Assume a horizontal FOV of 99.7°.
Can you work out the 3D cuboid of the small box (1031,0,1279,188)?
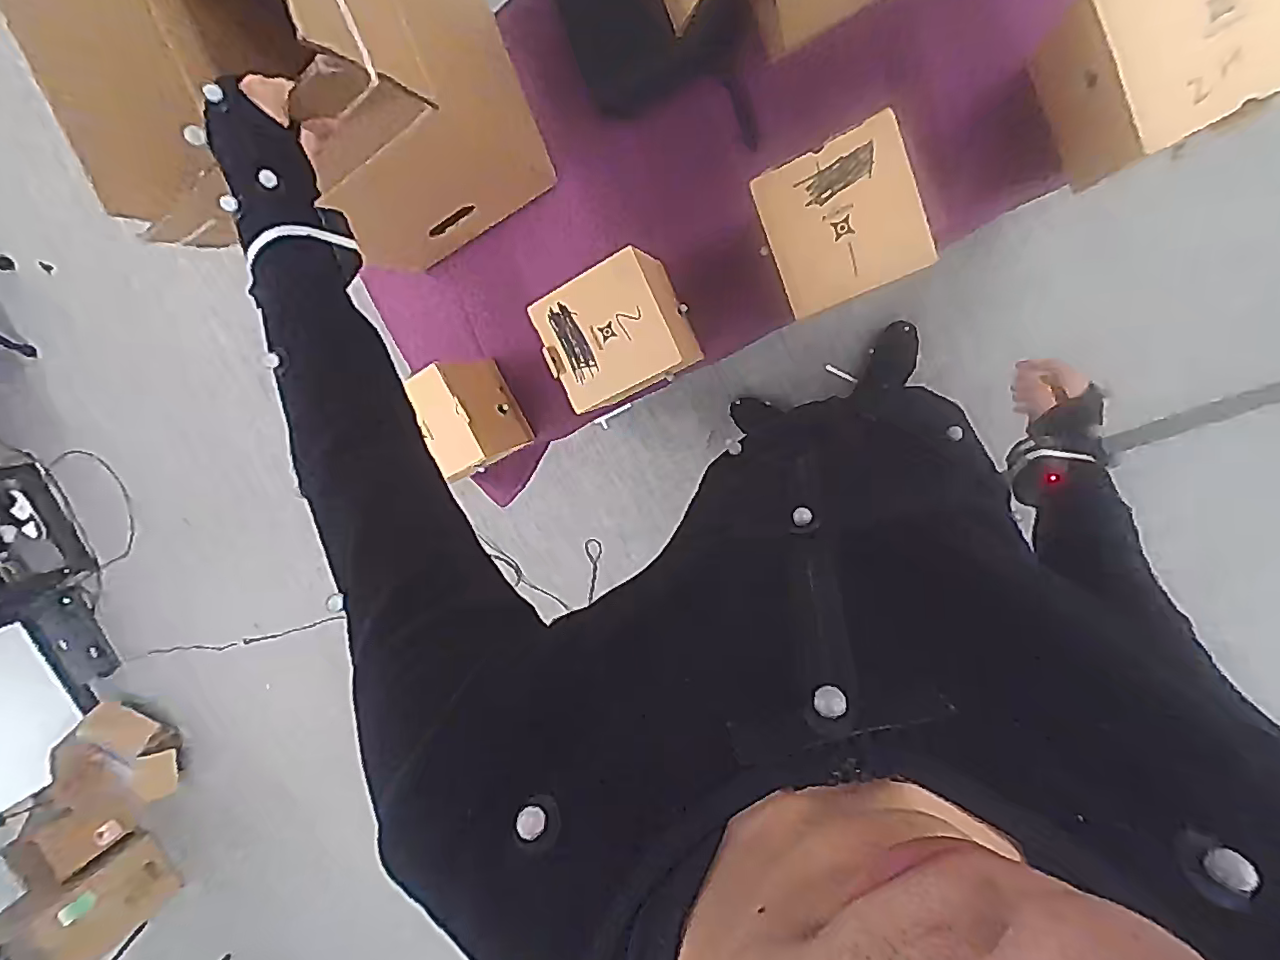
[{"bbox_3d":[0.554,-0.447,0.570,0.168,0.176,0.179,-23,97,22],"label":"small box"}]

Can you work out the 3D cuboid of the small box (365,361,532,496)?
[{"bbox_3d":[-0.322,-0.094,0.937,0.179,0.176,0.168,-25,96,20],"label":"small box"}]
